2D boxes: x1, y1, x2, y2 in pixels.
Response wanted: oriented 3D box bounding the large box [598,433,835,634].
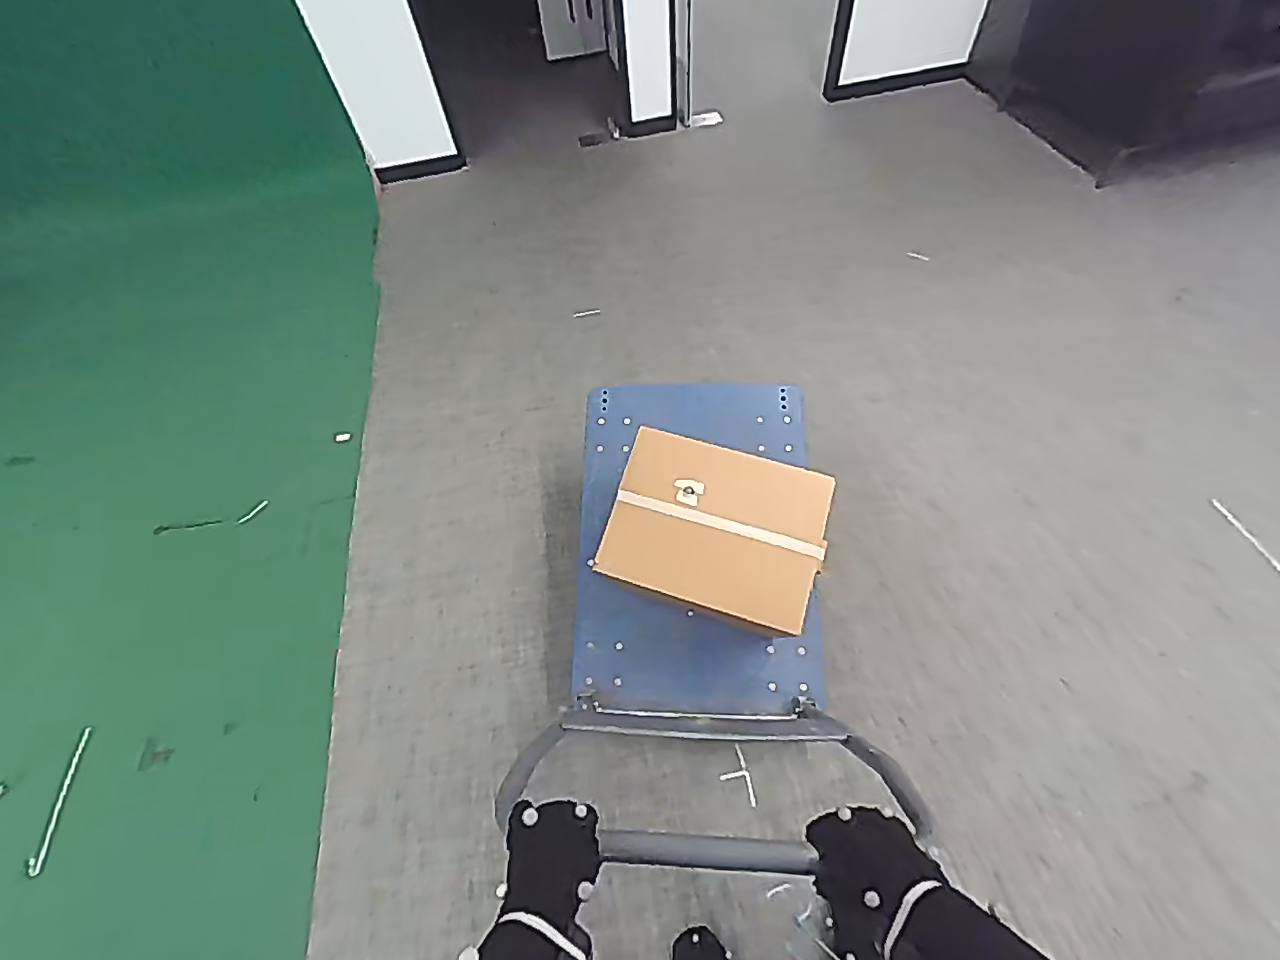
[{"bbox_3d":[0.167,0.131,1.183,0.408,0.320,0.320,15,75,11],"label":"large box"}]
